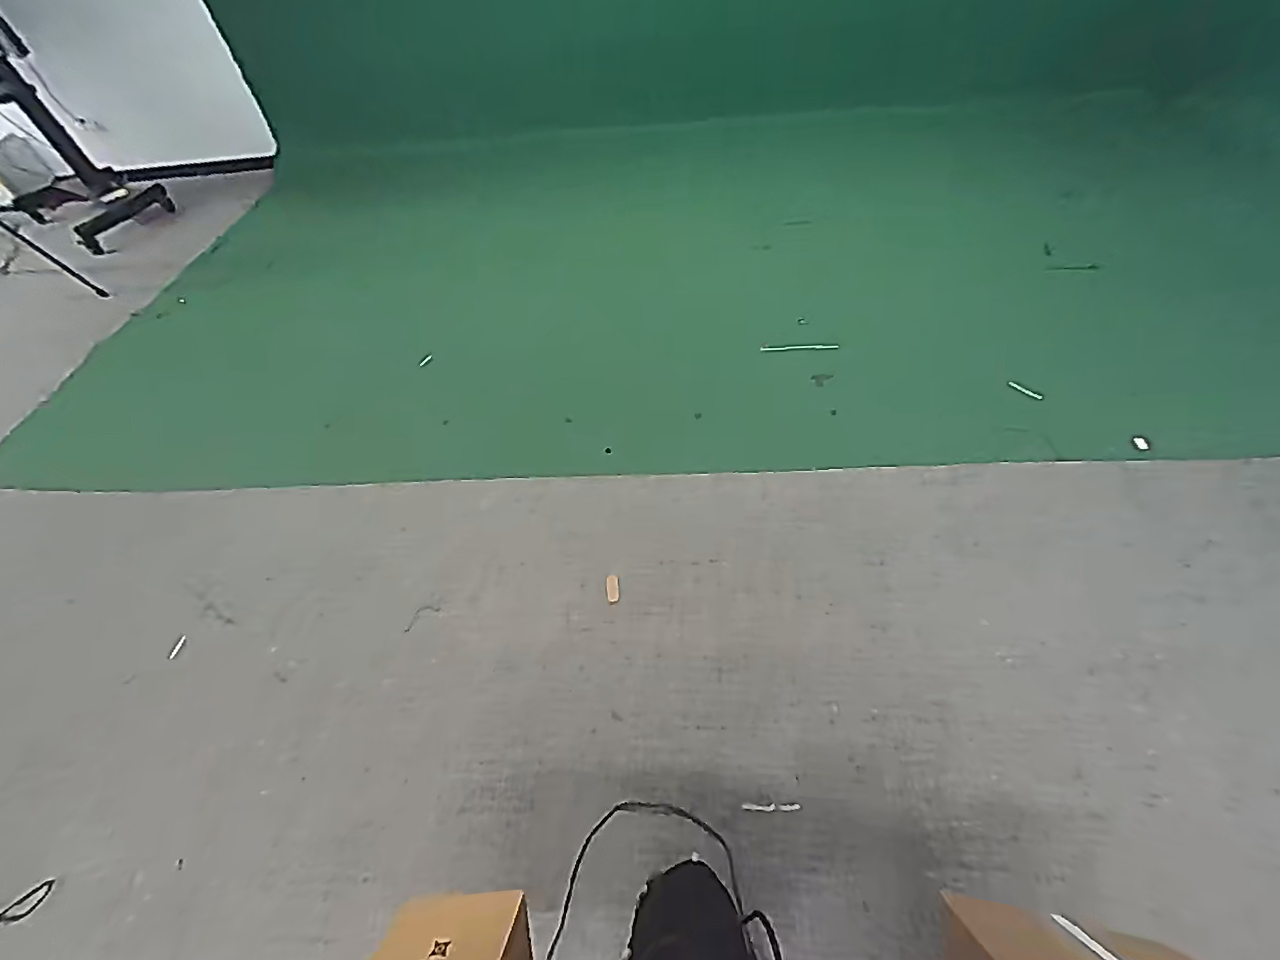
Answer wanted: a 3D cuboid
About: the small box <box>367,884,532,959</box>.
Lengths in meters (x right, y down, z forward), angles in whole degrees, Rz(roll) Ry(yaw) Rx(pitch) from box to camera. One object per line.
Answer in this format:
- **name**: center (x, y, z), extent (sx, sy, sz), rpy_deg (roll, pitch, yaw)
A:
- **small box**: center (-0.230, 0.635, 0.651), extent (0.168, 0.179, 0.176), rpy_deg (-6, 93, 4)
